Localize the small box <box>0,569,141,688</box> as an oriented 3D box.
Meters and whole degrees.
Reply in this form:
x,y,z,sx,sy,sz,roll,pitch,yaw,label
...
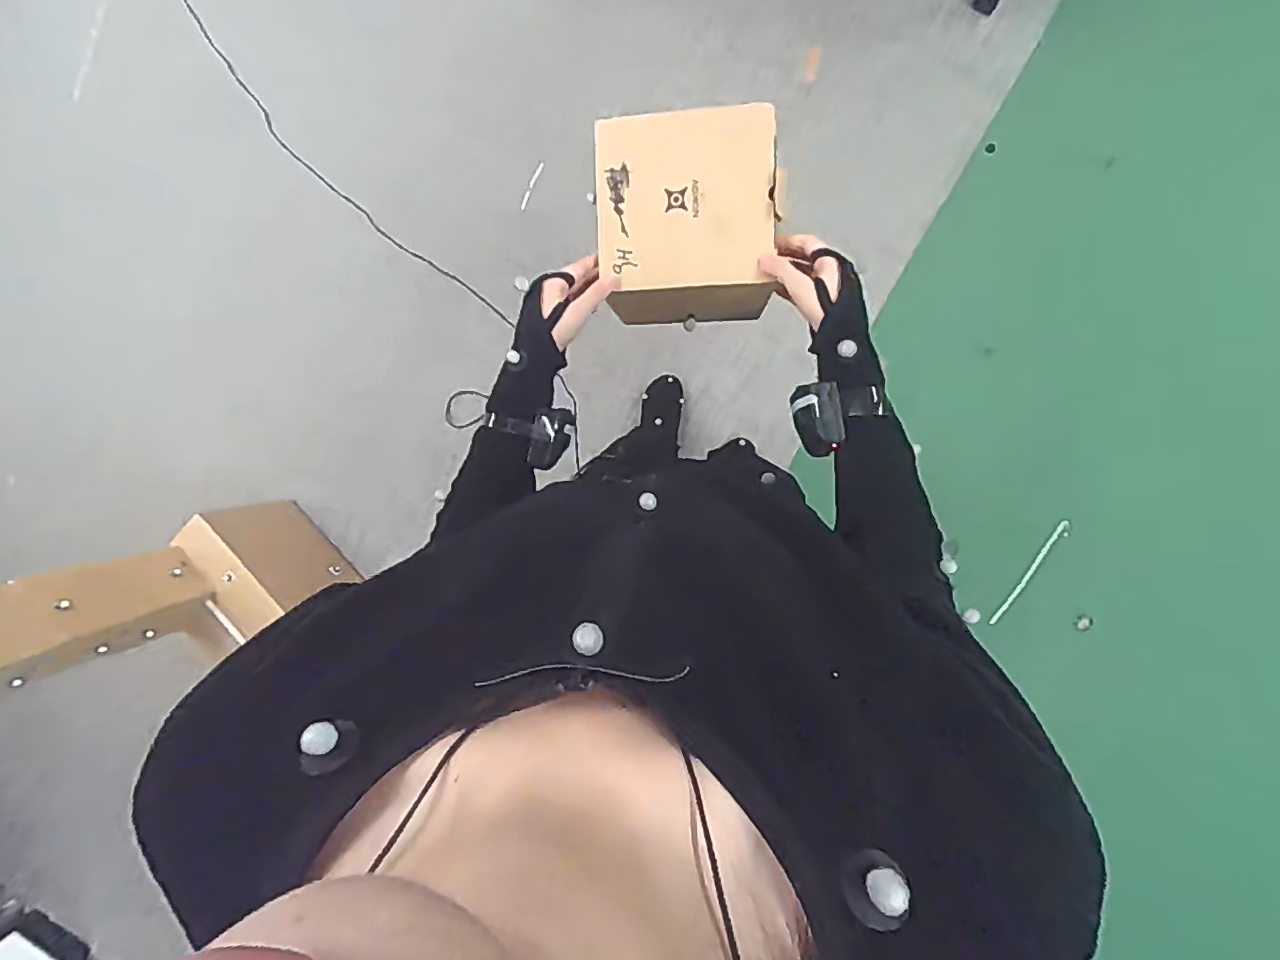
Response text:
x,y,z,sx,sy,sz,roll,pitch,yaw,label
-1.287,0.316,1.204,0.168,0.176,0.179,-41,88,12,small box

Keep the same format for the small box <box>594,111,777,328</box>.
x,y,z,sx,sy,sz,roll,pitch,yaw,label
0.050,-0.270,0.600,0.179,0.176,0.168,-1,93,6,small box

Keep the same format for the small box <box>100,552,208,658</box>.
x,y,z,sx,sy,sz,roll,pitch,yaw,label
-1.251,0.308,1.362,0.179,0.176,0.168,-43,87,12,small box
